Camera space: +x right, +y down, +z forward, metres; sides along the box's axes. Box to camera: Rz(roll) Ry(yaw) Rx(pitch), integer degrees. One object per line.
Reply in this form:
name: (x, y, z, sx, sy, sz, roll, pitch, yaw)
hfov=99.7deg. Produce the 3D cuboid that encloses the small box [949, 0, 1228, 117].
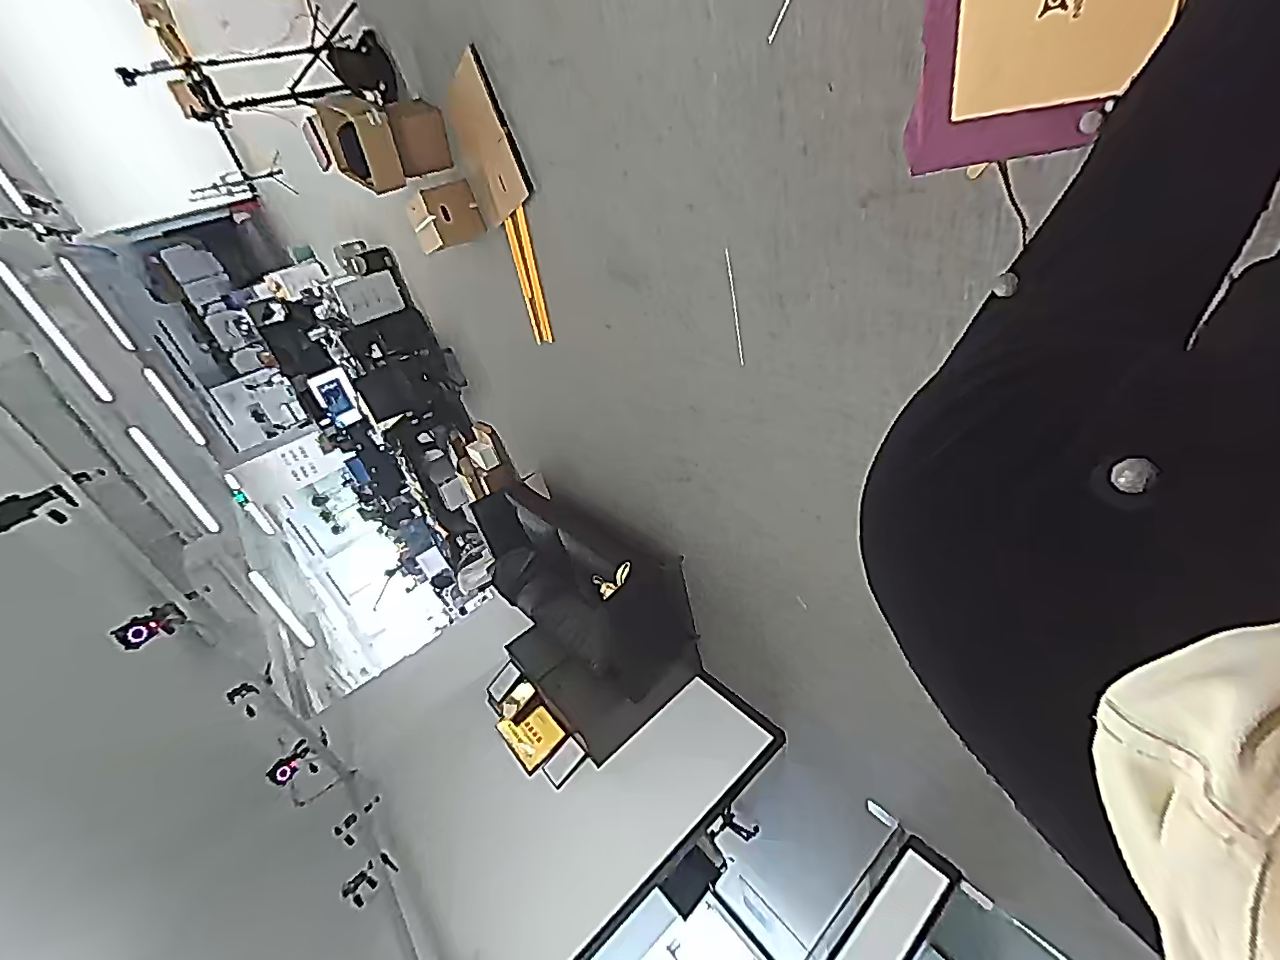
small box: (0.432, -0.466, 0.516, 0.179, 0.176, 0.168, 25, 138, 46)
